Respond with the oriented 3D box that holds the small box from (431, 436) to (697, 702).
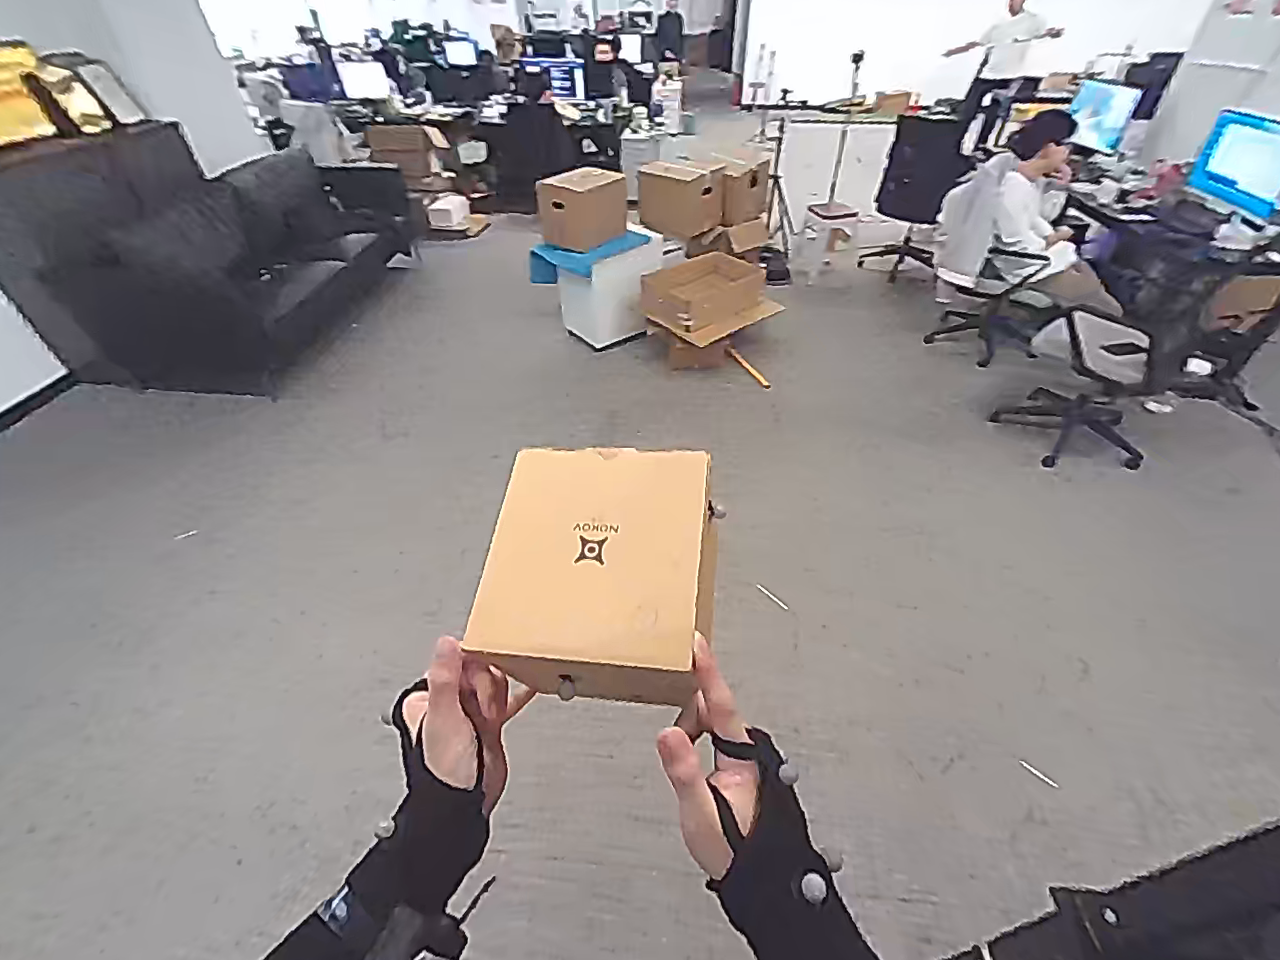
[{"bbox_3d":[-0.042,0.082,0.464,0.168,0.176,0.179,3,60,11],"label":"small box"}]
